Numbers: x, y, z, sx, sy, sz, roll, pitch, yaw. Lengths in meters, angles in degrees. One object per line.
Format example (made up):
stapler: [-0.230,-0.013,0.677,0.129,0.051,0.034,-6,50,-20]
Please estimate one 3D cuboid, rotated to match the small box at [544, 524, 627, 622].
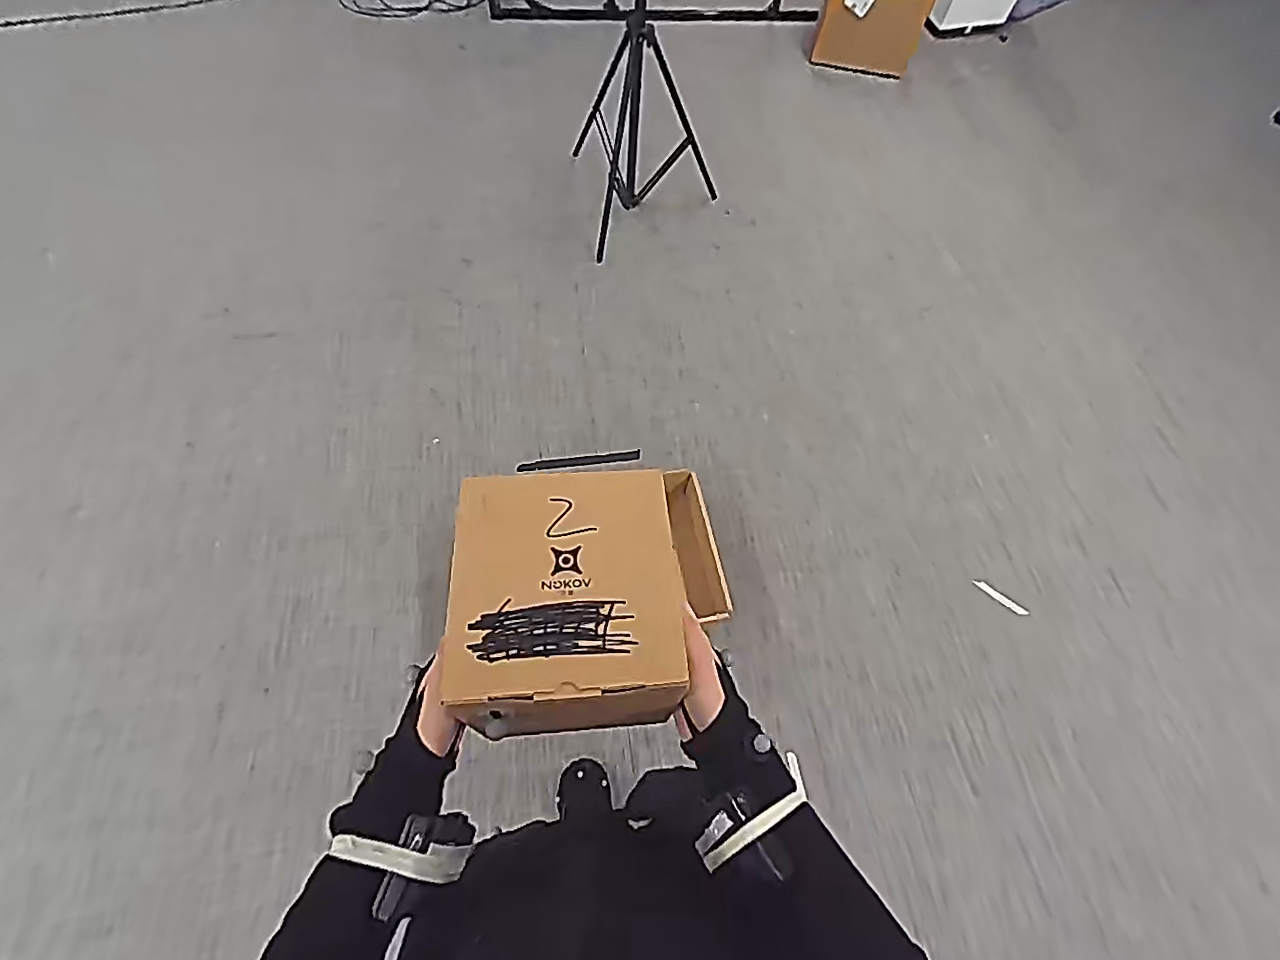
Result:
small box: [-0.135,0.235,1.342,0.168,0.176,0.179,-14,67,-10]
